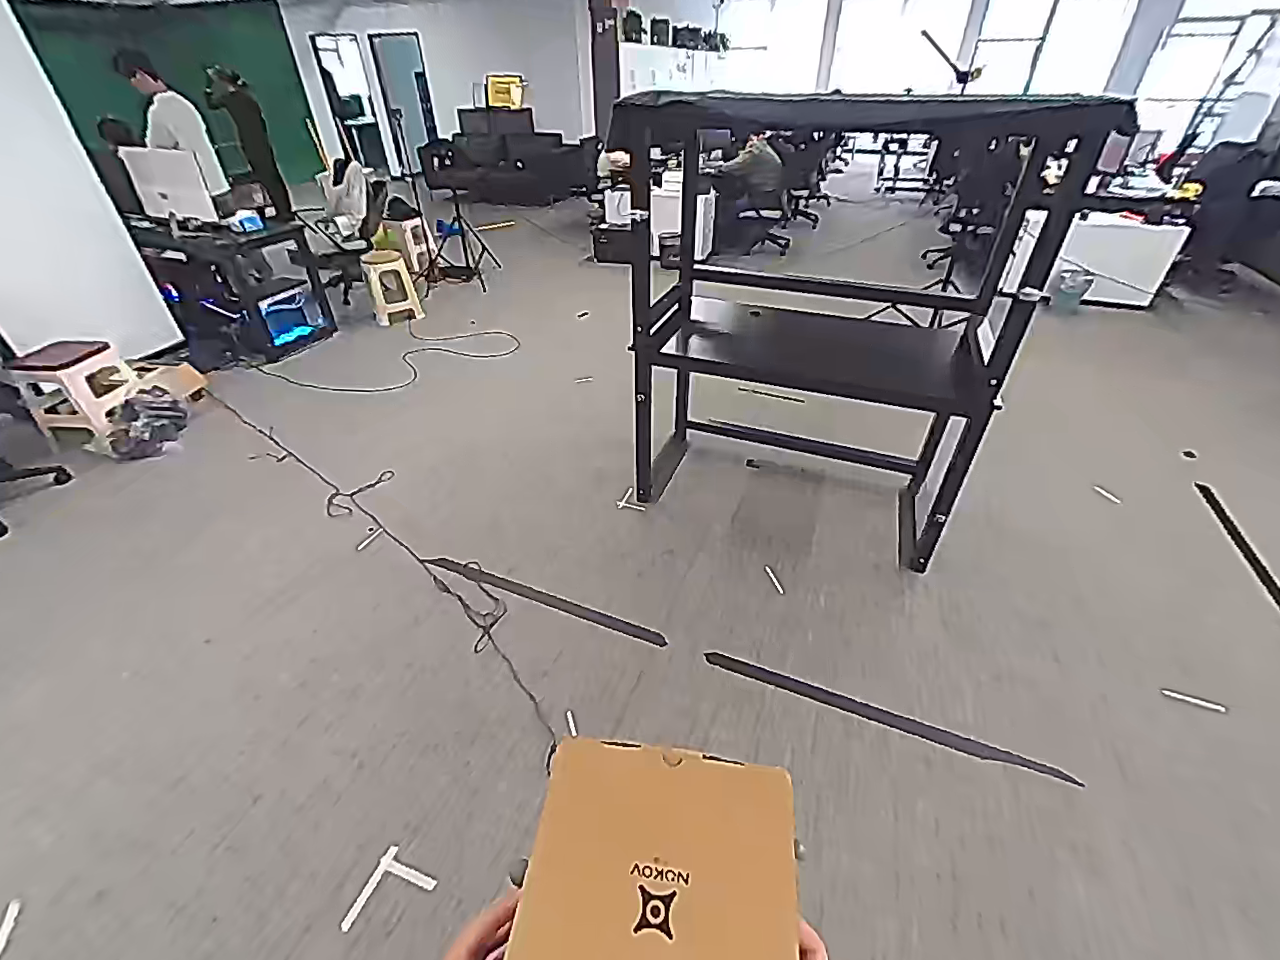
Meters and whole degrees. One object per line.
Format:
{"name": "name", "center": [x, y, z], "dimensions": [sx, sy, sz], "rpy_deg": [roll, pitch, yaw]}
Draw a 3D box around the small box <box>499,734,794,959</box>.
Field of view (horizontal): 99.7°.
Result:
{"name": "small box", "center": [0.009, 0.308, 0.372], "dimensions": [0.168, 0.176, 0.179], "rpy_deg": [5, 41, 6]}
